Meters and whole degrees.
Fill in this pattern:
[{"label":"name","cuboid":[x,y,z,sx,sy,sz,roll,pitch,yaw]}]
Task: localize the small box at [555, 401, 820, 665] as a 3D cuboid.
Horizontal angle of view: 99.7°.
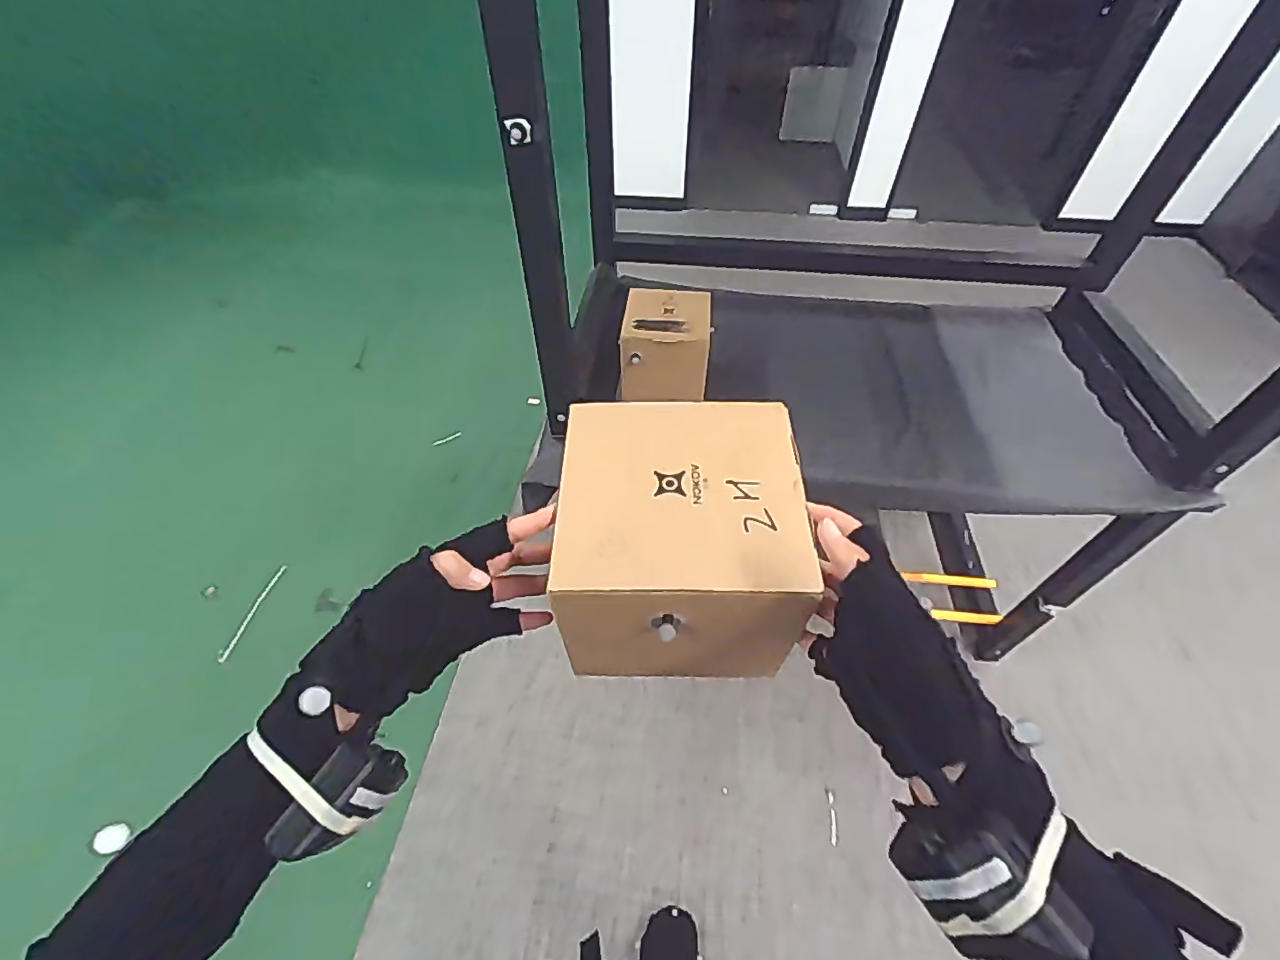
[{"label":"small box","cuboid":[0.033,0.050,0.460,0.179,0.176,0.168,0,54,0]}]
